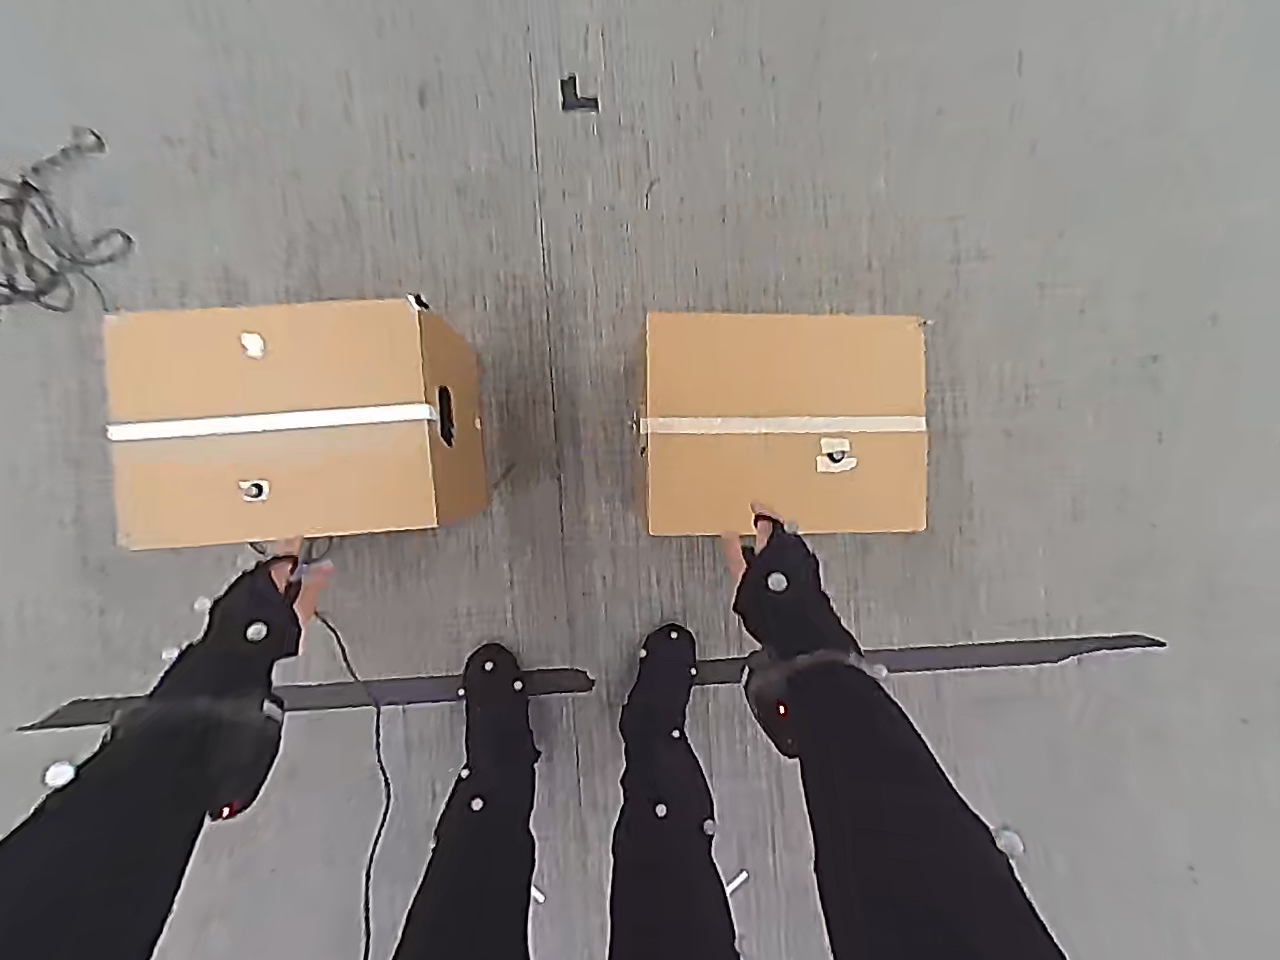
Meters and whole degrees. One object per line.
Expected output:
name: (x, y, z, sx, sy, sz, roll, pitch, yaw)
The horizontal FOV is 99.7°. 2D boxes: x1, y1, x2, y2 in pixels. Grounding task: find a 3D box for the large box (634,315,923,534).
large box: (0.202, -0.082, 0.925, 0.408, 0.320, 0.320, 0, 91, -5)
